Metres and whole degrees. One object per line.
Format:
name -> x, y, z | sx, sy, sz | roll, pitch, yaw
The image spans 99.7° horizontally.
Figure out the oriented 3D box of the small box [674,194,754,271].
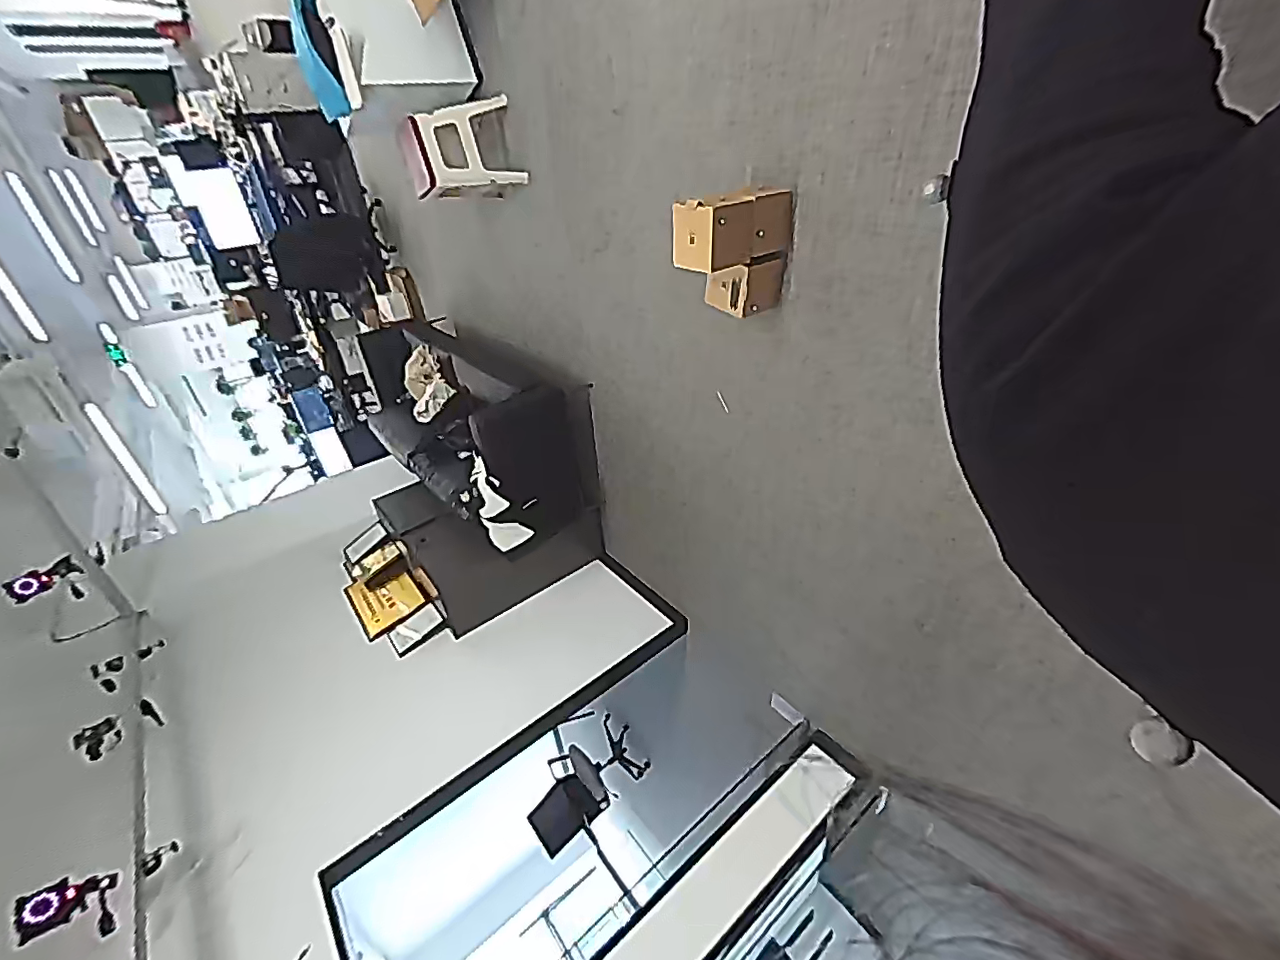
small box -> 0.219, -0.735, 1.598 | 0.168, 0.176, 0.179 | 32, 137, 42
